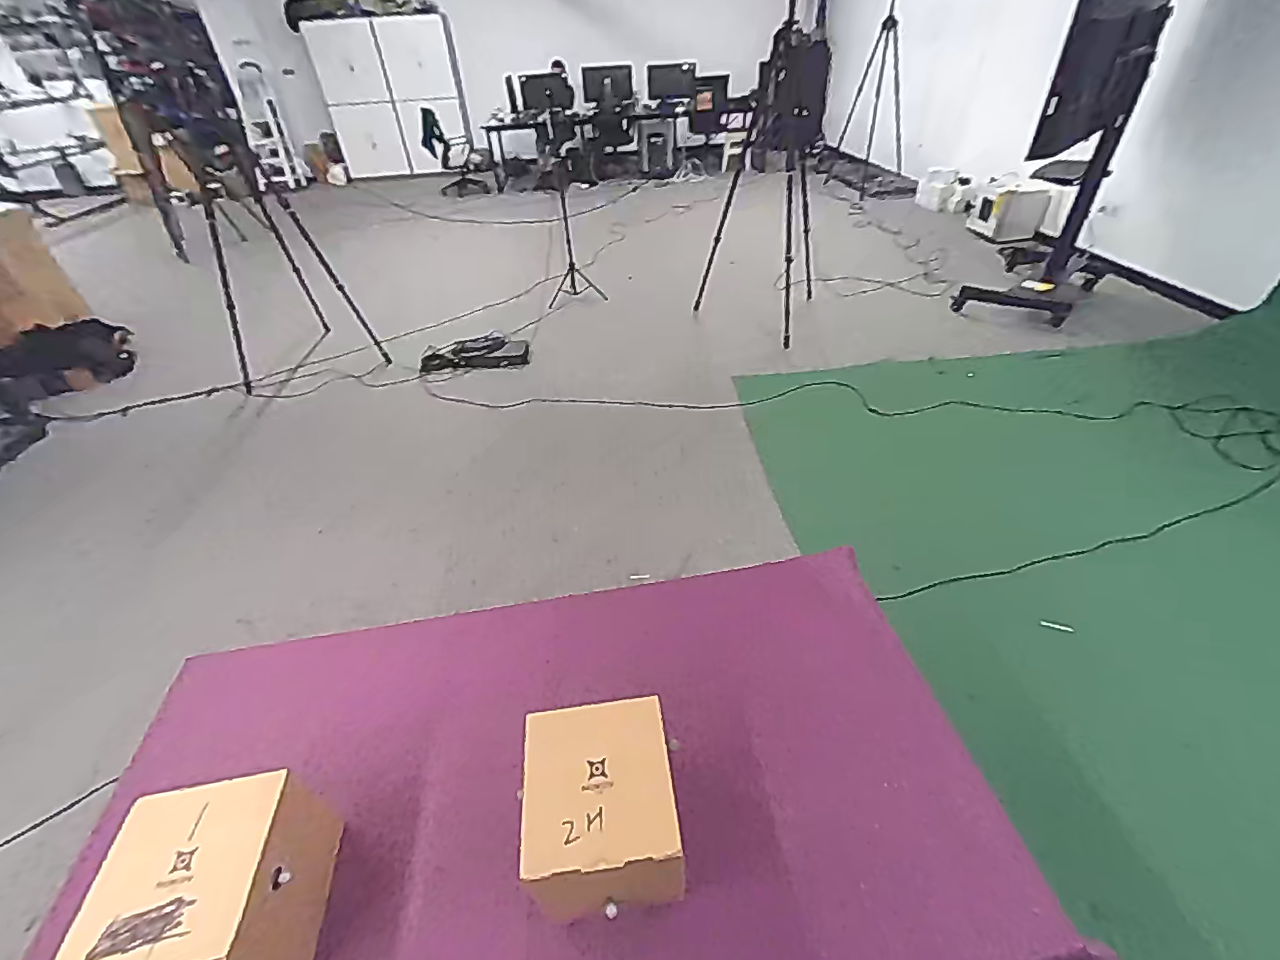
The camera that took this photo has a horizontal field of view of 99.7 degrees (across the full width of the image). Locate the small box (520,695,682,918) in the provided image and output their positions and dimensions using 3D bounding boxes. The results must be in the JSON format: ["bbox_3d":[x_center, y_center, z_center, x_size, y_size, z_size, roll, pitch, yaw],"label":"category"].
[{"bbox_3d":[-0.043,0.393,0.656,0.168,0.176,0.179,-7,40,-2],"label":"small box"}]

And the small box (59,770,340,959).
[{"bbox_3d":[-0.469,0.465,0.610,0.168,0.176,0.179,-9,39,-6],"label":"small box"}]
